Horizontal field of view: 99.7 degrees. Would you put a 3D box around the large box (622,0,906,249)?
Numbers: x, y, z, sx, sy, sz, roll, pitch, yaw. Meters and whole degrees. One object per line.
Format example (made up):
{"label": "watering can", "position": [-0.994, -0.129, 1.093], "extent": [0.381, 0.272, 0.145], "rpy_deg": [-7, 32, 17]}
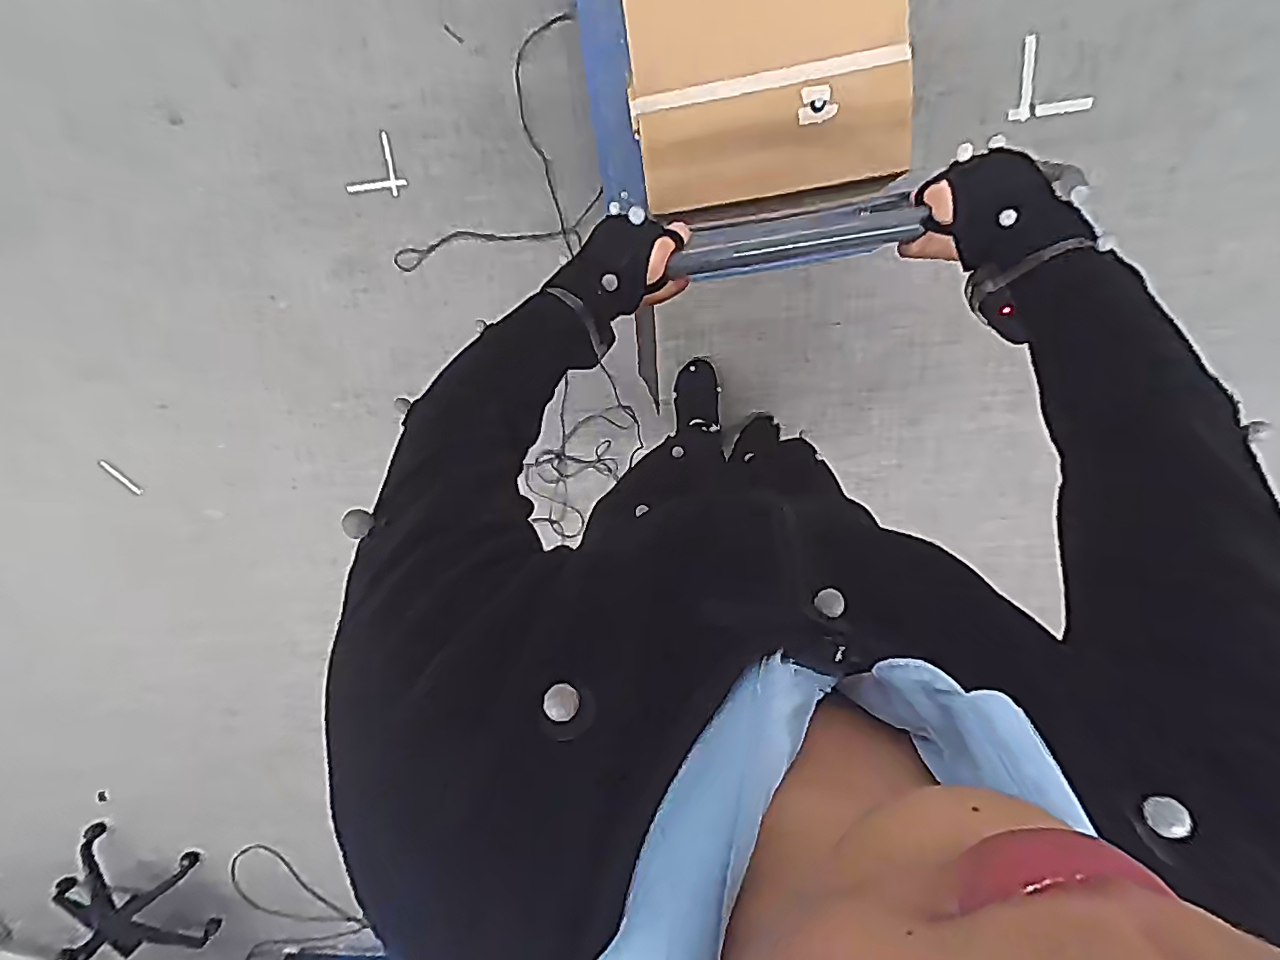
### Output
{"label": "large box", "position": [0.198, -0.622, 0.953], "extent": [0.408, 0.320, 0.320], "rpy_deg": [-7, 107, 6]}
